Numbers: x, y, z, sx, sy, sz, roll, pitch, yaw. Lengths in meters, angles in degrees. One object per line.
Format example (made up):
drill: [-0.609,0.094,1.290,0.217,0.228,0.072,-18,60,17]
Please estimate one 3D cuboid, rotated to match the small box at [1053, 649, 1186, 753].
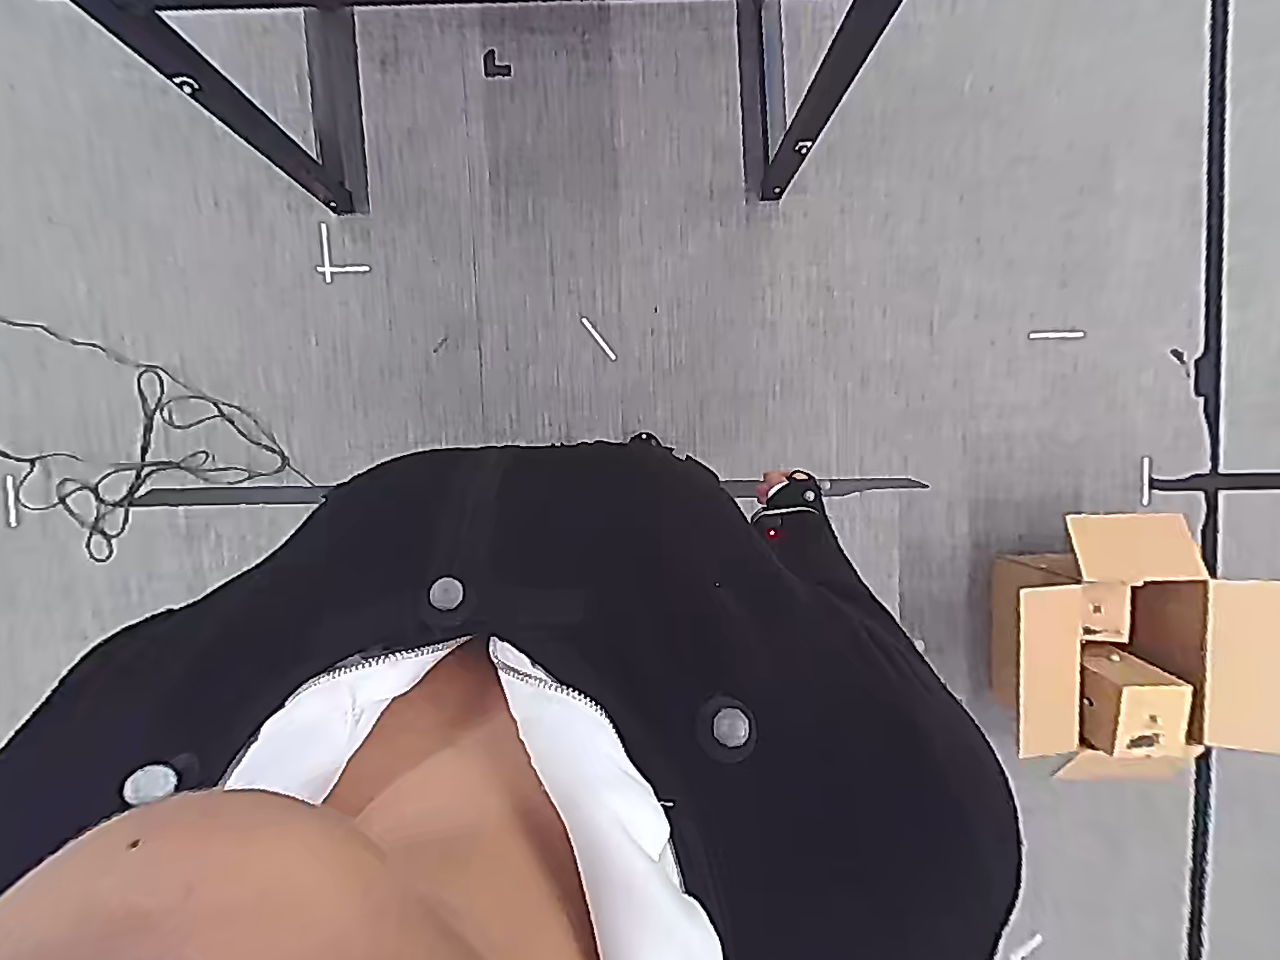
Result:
small box: [1.139,0.527,1.300,0.168,0.176,0.179,1,97,-3]
